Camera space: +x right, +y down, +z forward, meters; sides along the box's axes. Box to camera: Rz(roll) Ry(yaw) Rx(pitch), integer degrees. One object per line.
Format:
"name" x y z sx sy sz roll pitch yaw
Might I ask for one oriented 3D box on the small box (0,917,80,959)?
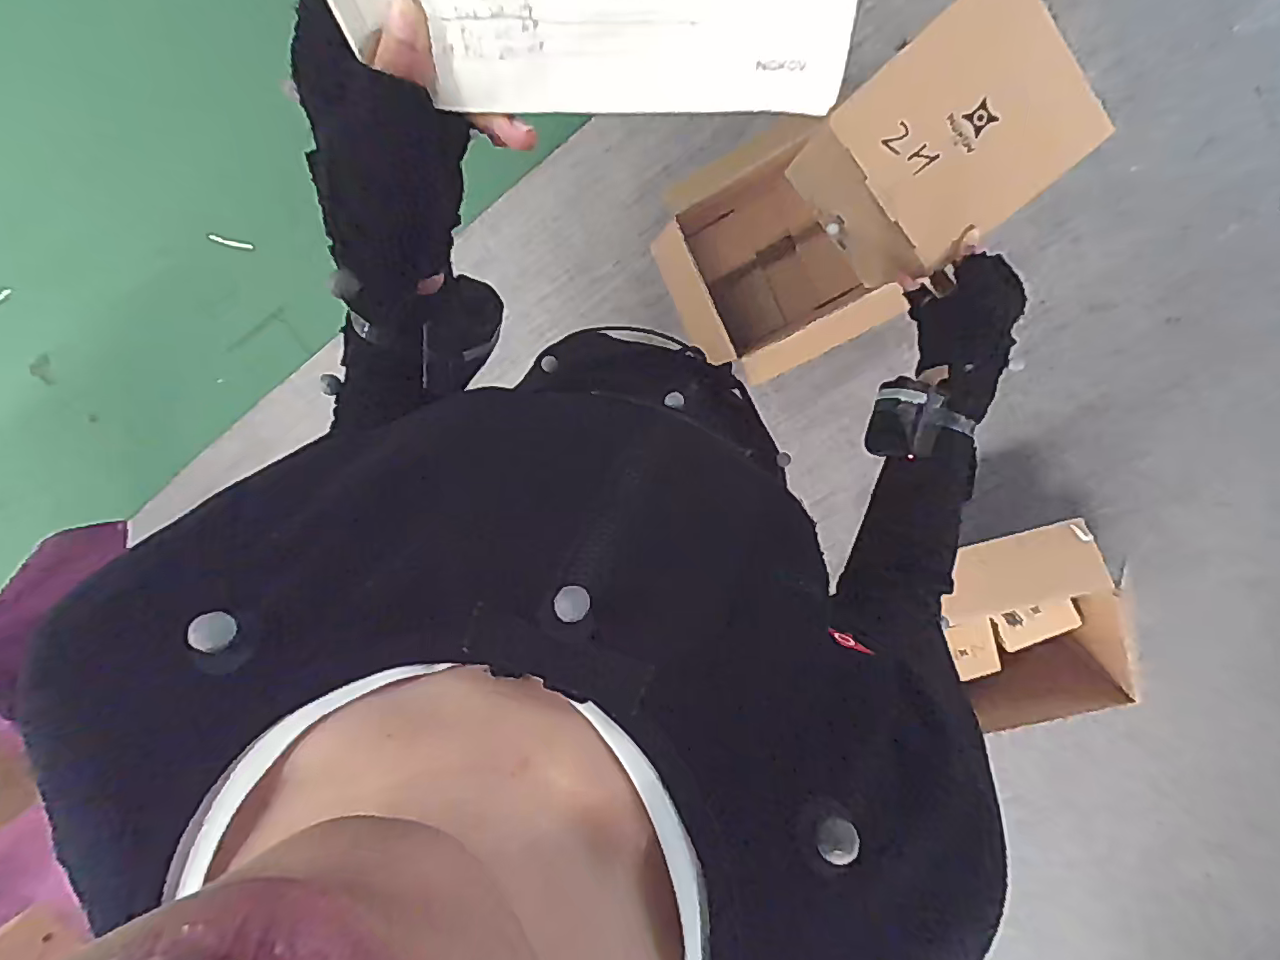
"small box" -1.178 0.951 0.981 0.179 0.176 0.168 -34 100 12
